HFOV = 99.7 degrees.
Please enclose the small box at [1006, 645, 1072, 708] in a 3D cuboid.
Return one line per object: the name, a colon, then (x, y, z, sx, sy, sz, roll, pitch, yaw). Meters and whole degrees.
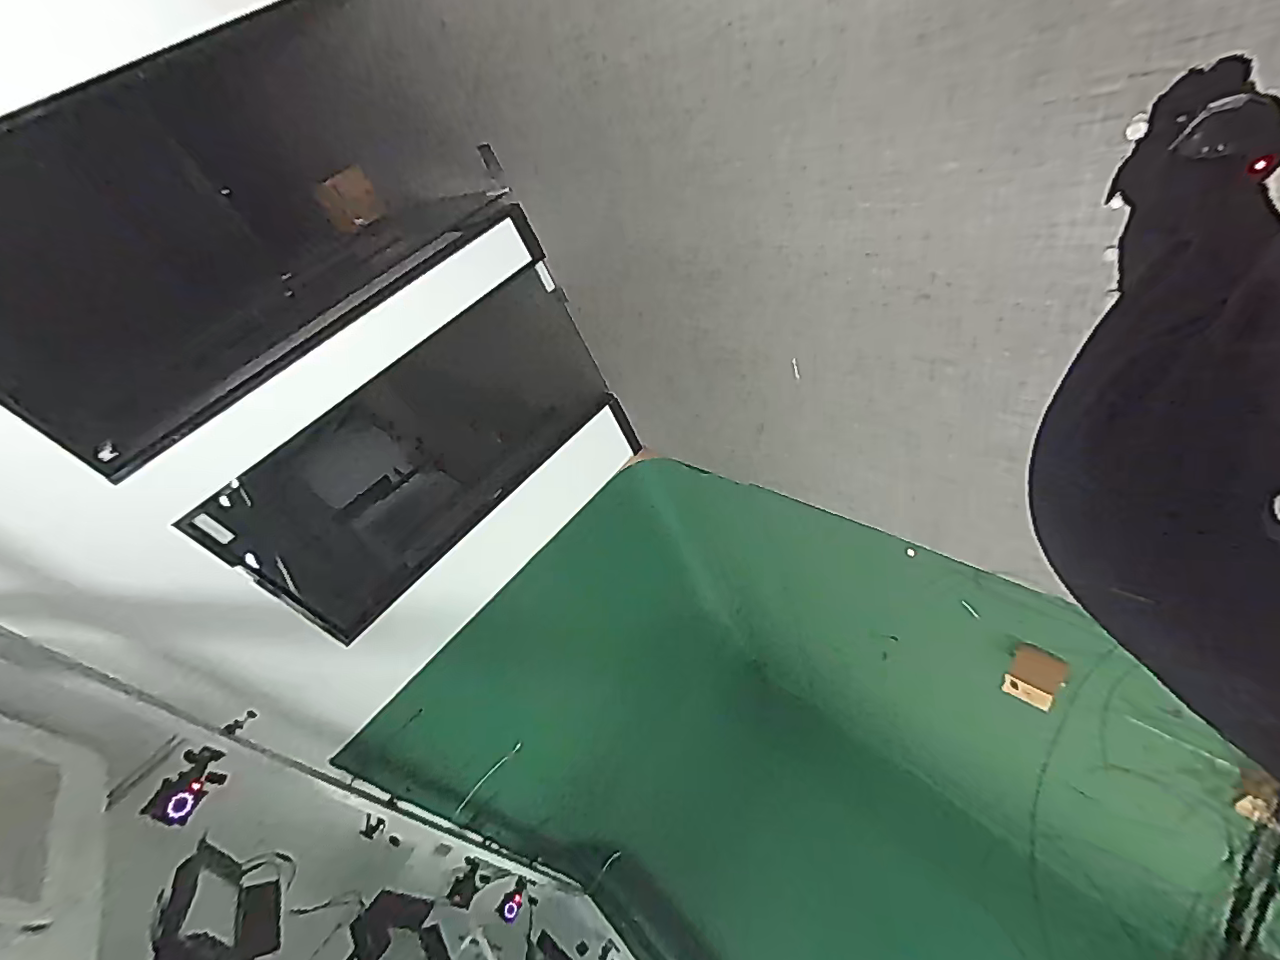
small box: (1.730, 0.841, 2.345, 0.179, 0.176, 0.168, 24, 153, 42)
